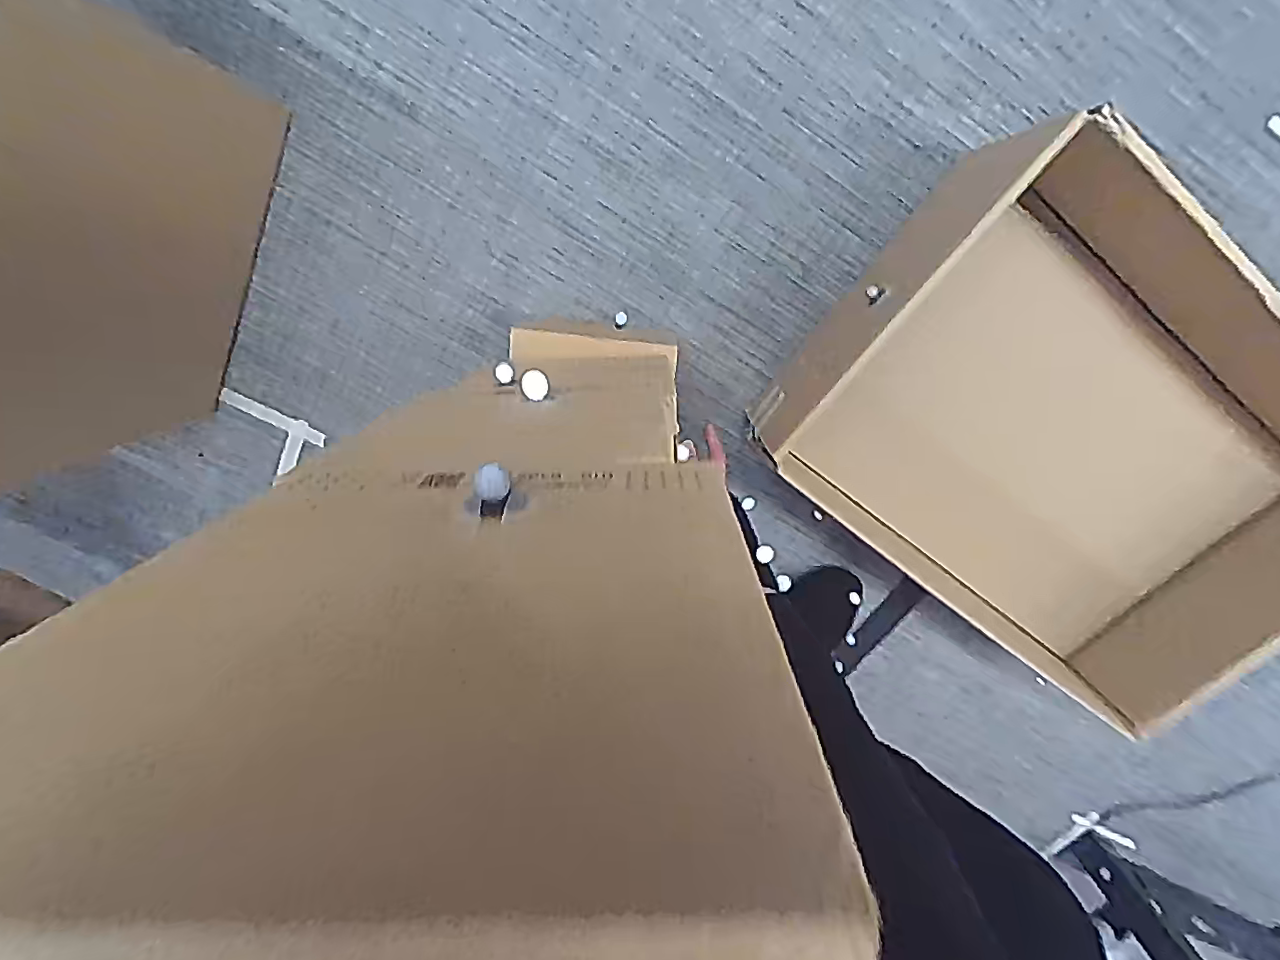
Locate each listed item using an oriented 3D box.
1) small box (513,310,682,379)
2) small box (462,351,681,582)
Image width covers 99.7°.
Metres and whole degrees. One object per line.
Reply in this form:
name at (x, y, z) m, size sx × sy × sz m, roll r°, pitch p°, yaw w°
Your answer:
small box at (-0.047, -0.090, 0.620) m, size 0.168 × 0.176 × 0.179 m, roll 7°, pitch 111°, yaw -1°
small box at (-0.056, -0.016, 0.474) m, size 0.179 × 0.176 × 0.168 m, roll -2°, pitch 113°, yaw 1°
